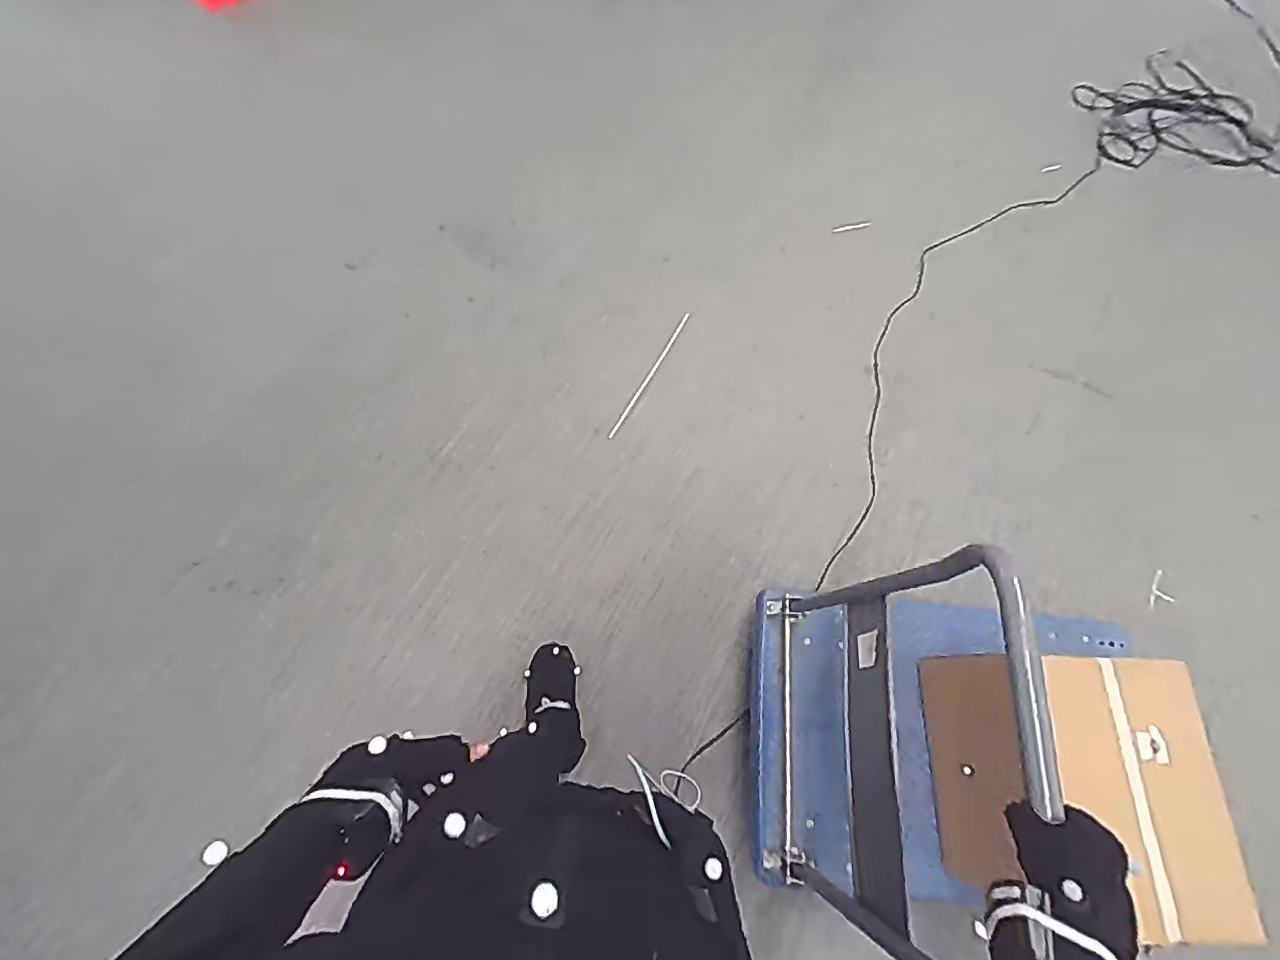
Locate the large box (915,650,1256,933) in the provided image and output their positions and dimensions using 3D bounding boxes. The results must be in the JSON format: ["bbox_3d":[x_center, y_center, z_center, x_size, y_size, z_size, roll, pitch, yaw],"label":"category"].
[{"bbox_3d":[0.766,0.537,1.008,0.320,0.320,0.408,3,69,-4],"label":"large box"}]
